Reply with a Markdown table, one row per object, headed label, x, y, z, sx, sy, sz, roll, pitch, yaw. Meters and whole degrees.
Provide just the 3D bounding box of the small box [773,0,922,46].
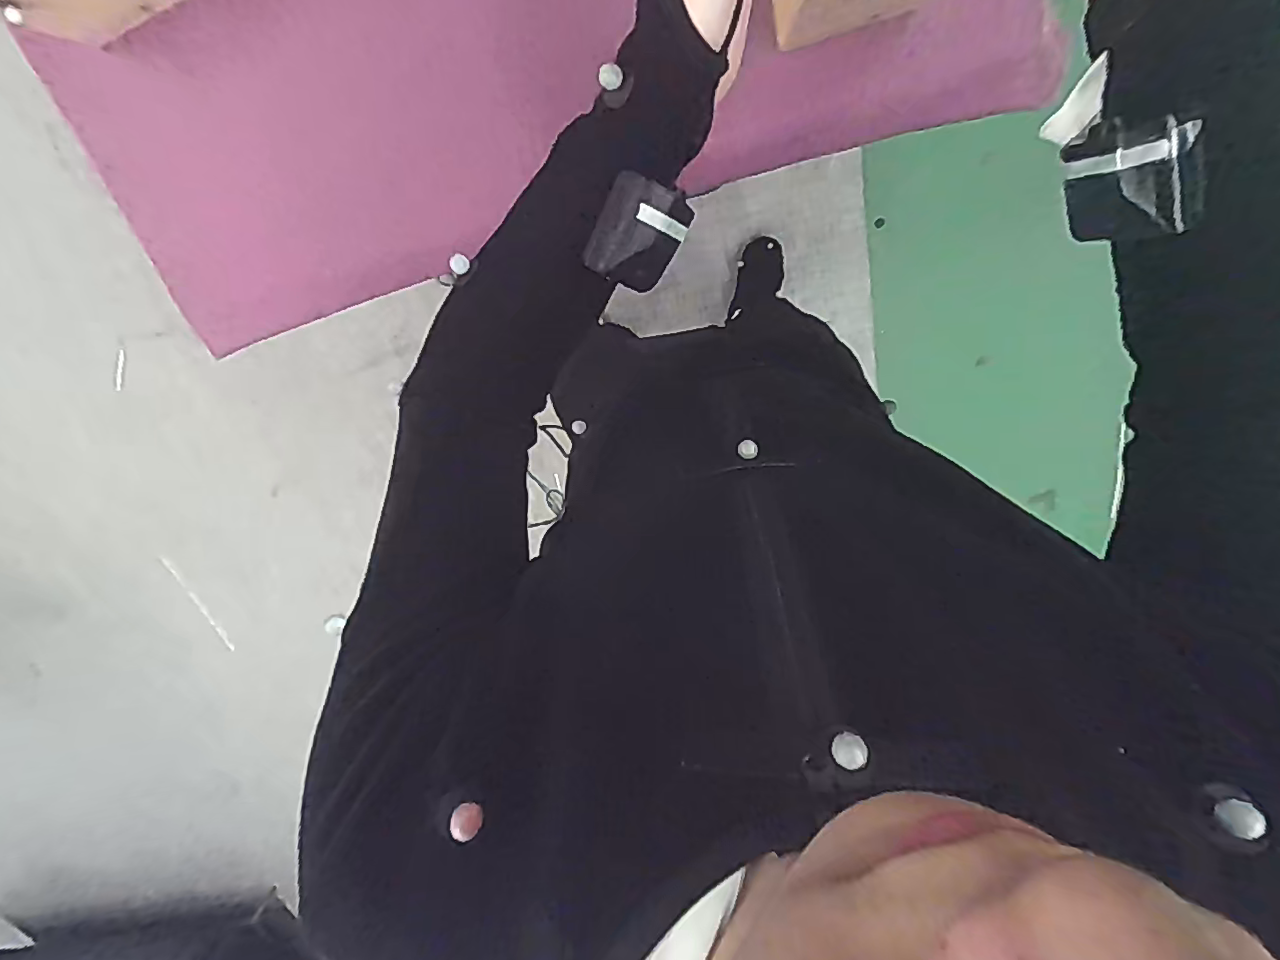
| label | x | y | z | sx | sy | sz | roll | pitch | yaw |
| --- | --- | --- | --- | --- | --- | --- | --- | --- | --- |
| small box | 0.215 | -0.566 | 0.517 | 0.168 | 0.176 | 0.179 | -11 | 113 | 10 |
